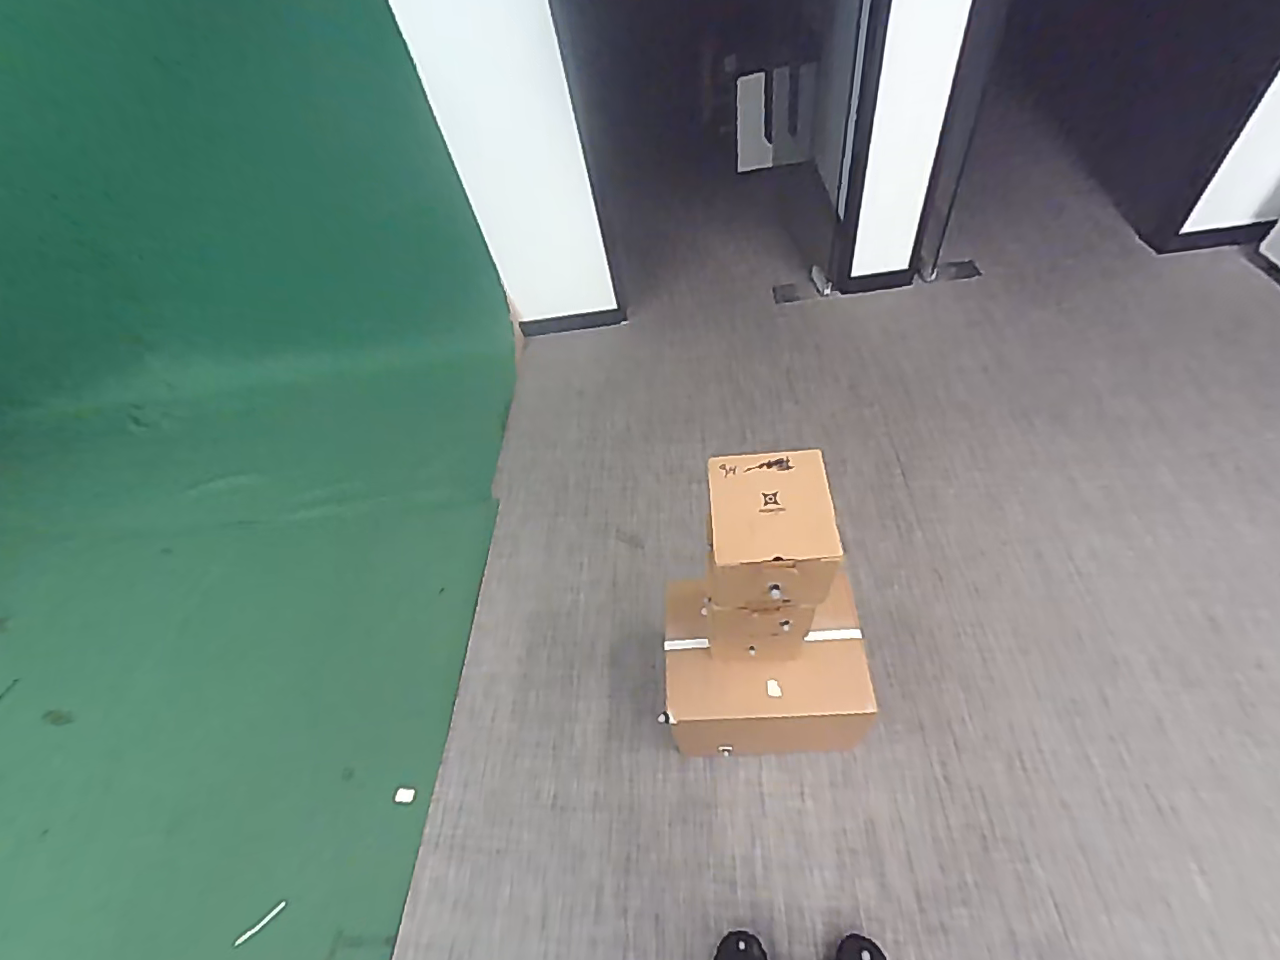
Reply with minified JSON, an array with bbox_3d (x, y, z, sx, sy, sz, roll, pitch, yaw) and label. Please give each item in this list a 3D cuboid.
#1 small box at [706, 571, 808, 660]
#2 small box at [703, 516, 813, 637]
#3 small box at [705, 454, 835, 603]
[{"bbox_3d":[0.228,0.259,1.092,0.179,0.176,0.168,-6,57,7],"label":"small box"},{"bbox_3d":[0.204,0.172,0.958,0.168,0.176,0.179,-5,56,7],"label":"small box"},{"bbox_3d":[0.189,0.082,0.822,0.168,0.176,0.179,-4,58,8],"label":"small box"}]
